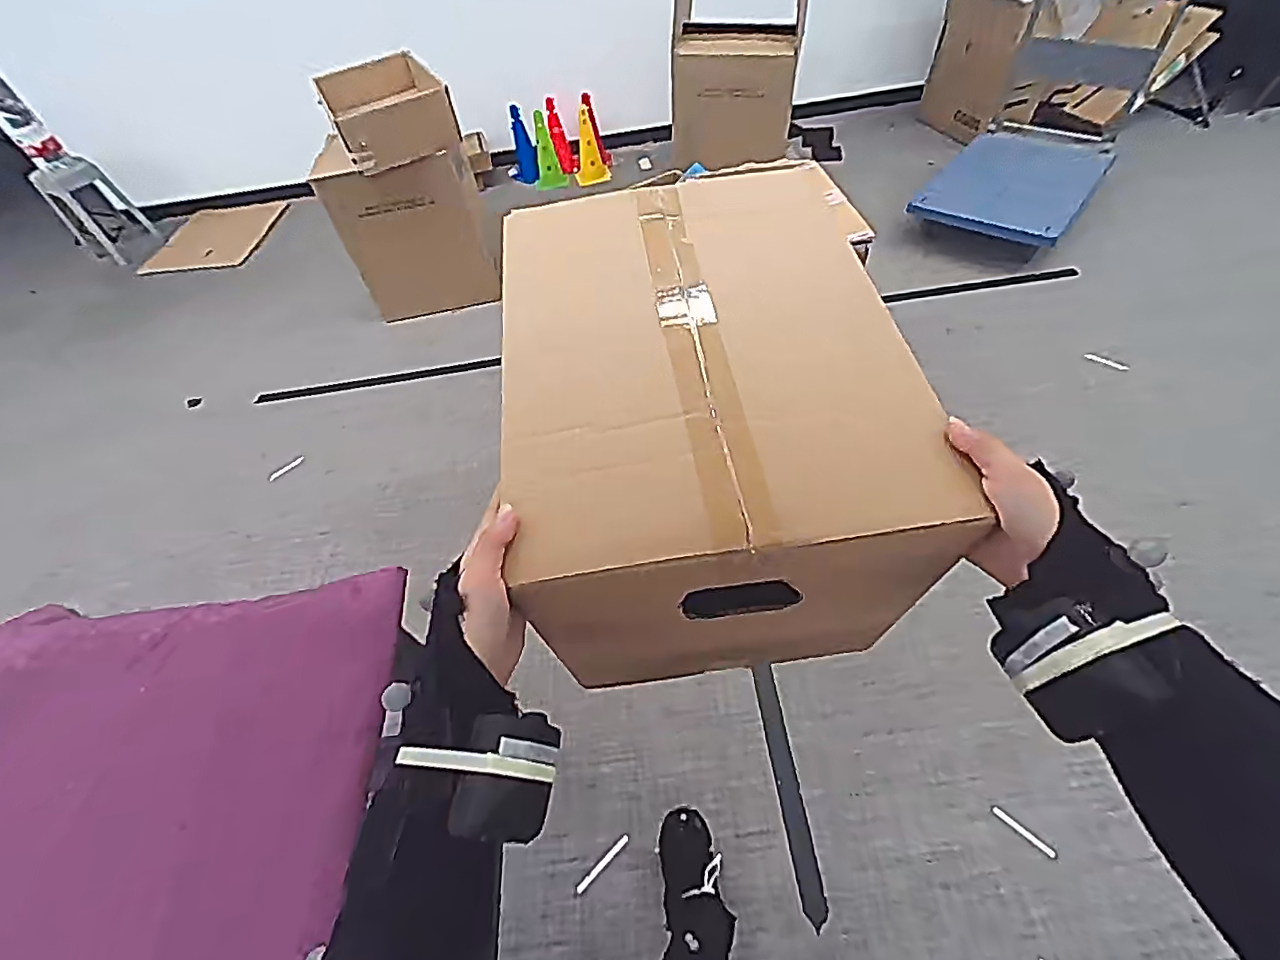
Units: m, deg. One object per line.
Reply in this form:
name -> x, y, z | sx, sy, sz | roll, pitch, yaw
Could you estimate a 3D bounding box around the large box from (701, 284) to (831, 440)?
large box -> 0.397, -0.397, 1.818 | 0.320, 0.320, 0.408 | -9, 52, 0
